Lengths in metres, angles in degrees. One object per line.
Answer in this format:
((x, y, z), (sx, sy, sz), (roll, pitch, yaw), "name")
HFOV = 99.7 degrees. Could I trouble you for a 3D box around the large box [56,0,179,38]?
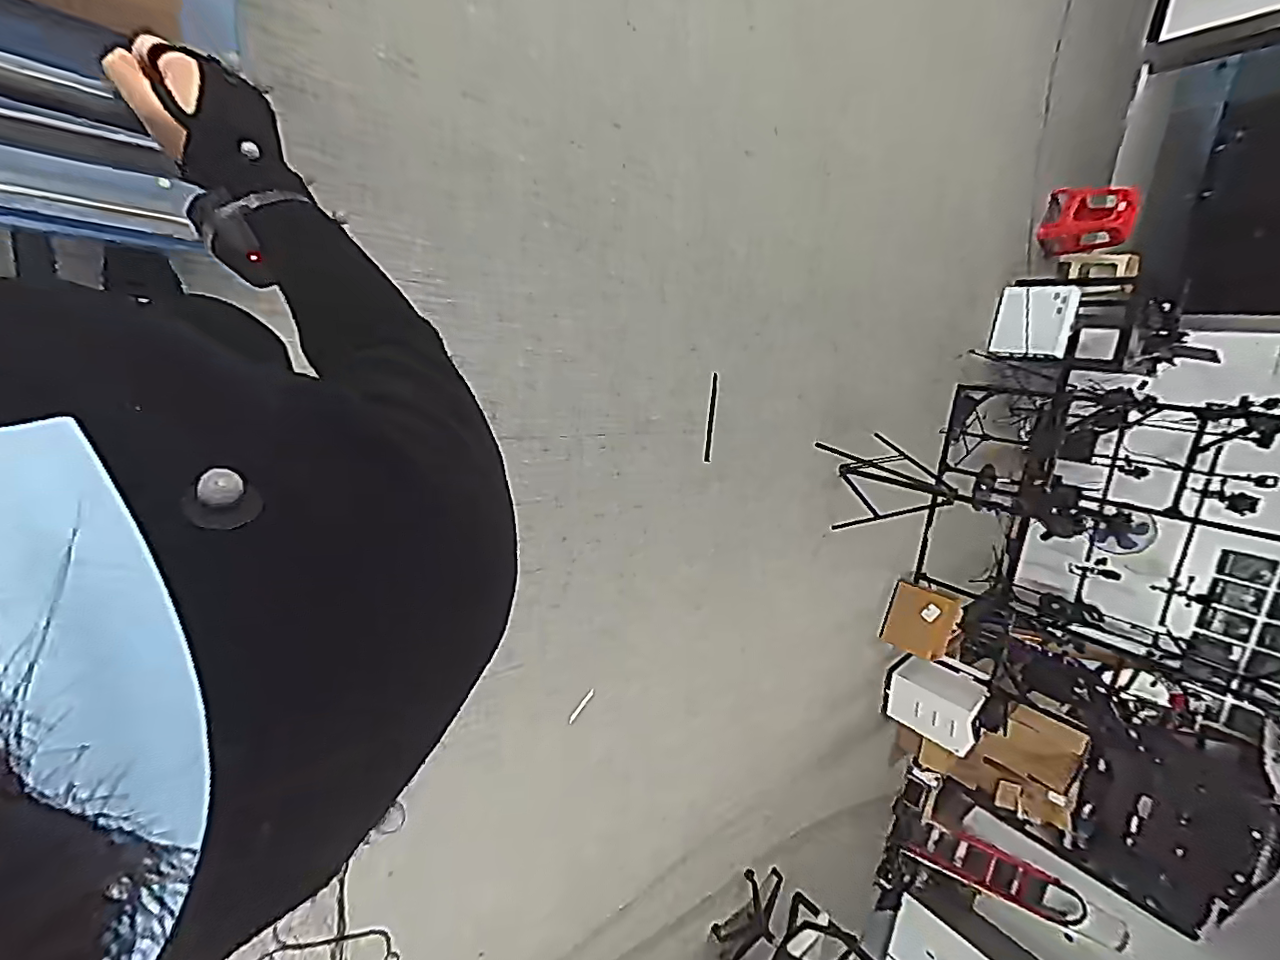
((-0.816, -0.827, 0.634), (0.408, 0.320, 0.320), (-3, 105, -40), "large box")
